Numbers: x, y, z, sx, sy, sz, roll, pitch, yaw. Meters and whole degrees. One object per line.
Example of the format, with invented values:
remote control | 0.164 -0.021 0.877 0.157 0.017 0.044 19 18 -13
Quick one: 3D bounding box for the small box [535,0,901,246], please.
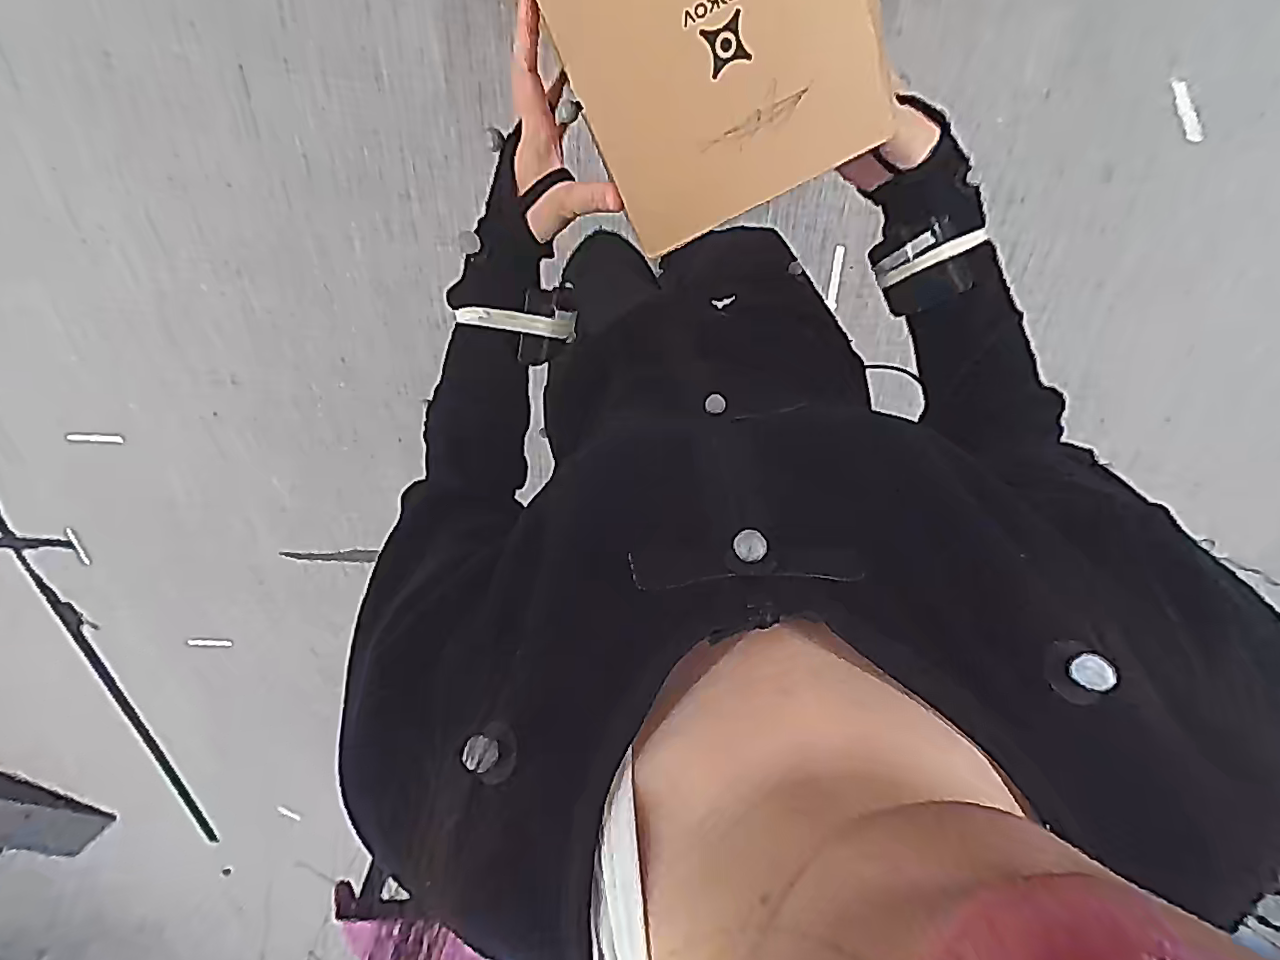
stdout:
small box | 0.036 -0.285 0.347 0.168 0.176 0.179 -24 125 10
